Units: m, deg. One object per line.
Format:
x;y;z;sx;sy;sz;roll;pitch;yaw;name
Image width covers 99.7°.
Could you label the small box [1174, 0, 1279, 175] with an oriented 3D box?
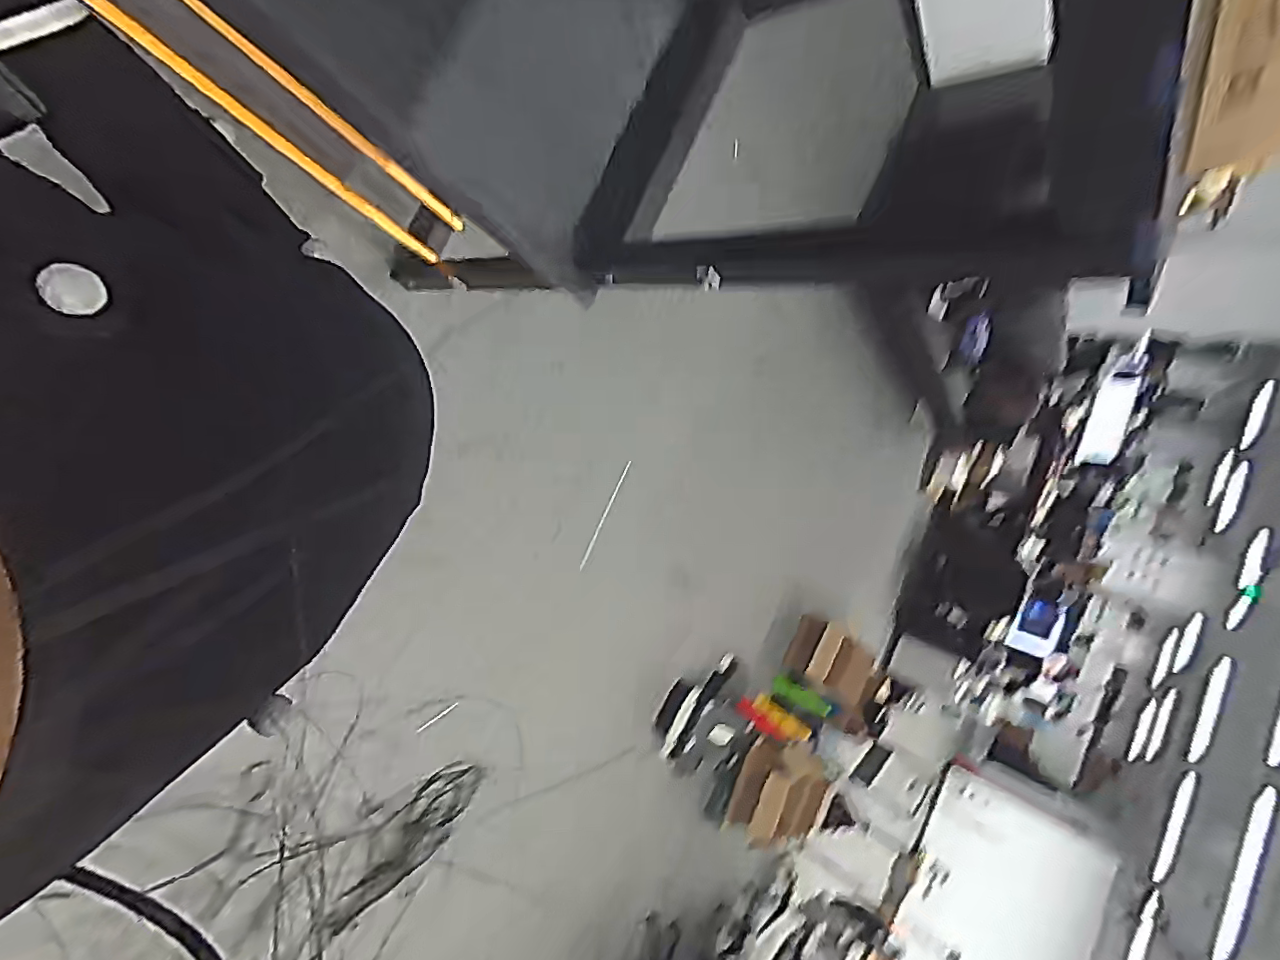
0.464;-0.319;0.320;0.168;0.176;0.179;43;72;-45;small box
